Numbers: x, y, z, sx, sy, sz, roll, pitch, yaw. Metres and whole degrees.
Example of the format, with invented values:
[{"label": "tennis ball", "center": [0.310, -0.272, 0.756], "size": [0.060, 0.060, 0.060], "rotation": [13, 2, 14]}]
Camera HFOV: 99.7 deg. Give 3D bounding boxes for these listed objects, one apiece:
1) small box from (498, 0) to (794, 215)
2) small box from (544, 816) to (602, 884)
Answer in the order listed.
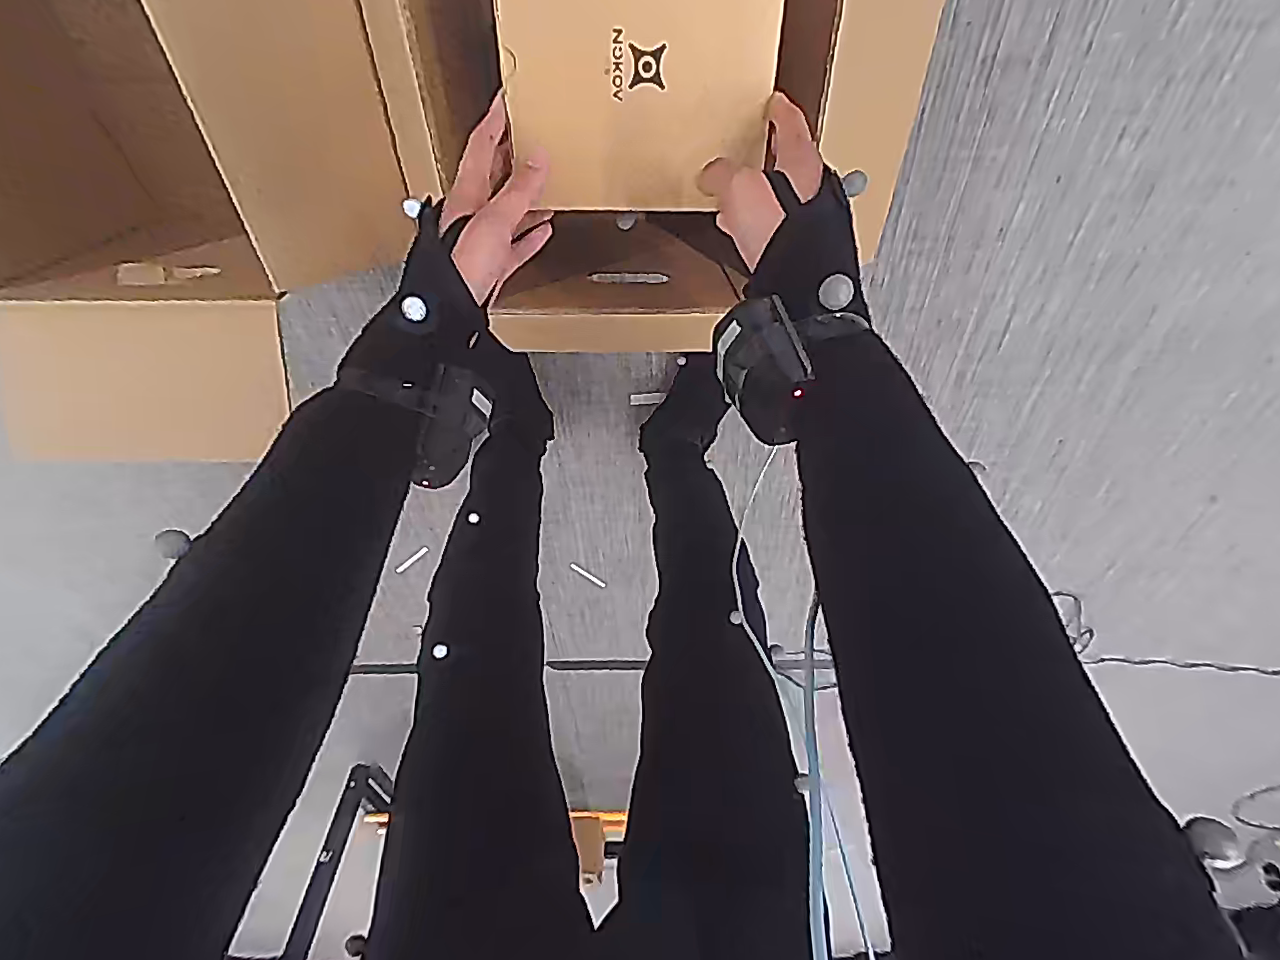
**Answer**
[{"label": "small box", "center": [0.000, -0.300, 0.397], "size": [0.179, 0.176, 0.168], "rotation": [0, 125, -2]}, {"label": "small box", "center": [-0.232, 1.312, 1.919], "size": [0.179, 0.176, 0.168], "rotation": [-2, 131, 4]}]
